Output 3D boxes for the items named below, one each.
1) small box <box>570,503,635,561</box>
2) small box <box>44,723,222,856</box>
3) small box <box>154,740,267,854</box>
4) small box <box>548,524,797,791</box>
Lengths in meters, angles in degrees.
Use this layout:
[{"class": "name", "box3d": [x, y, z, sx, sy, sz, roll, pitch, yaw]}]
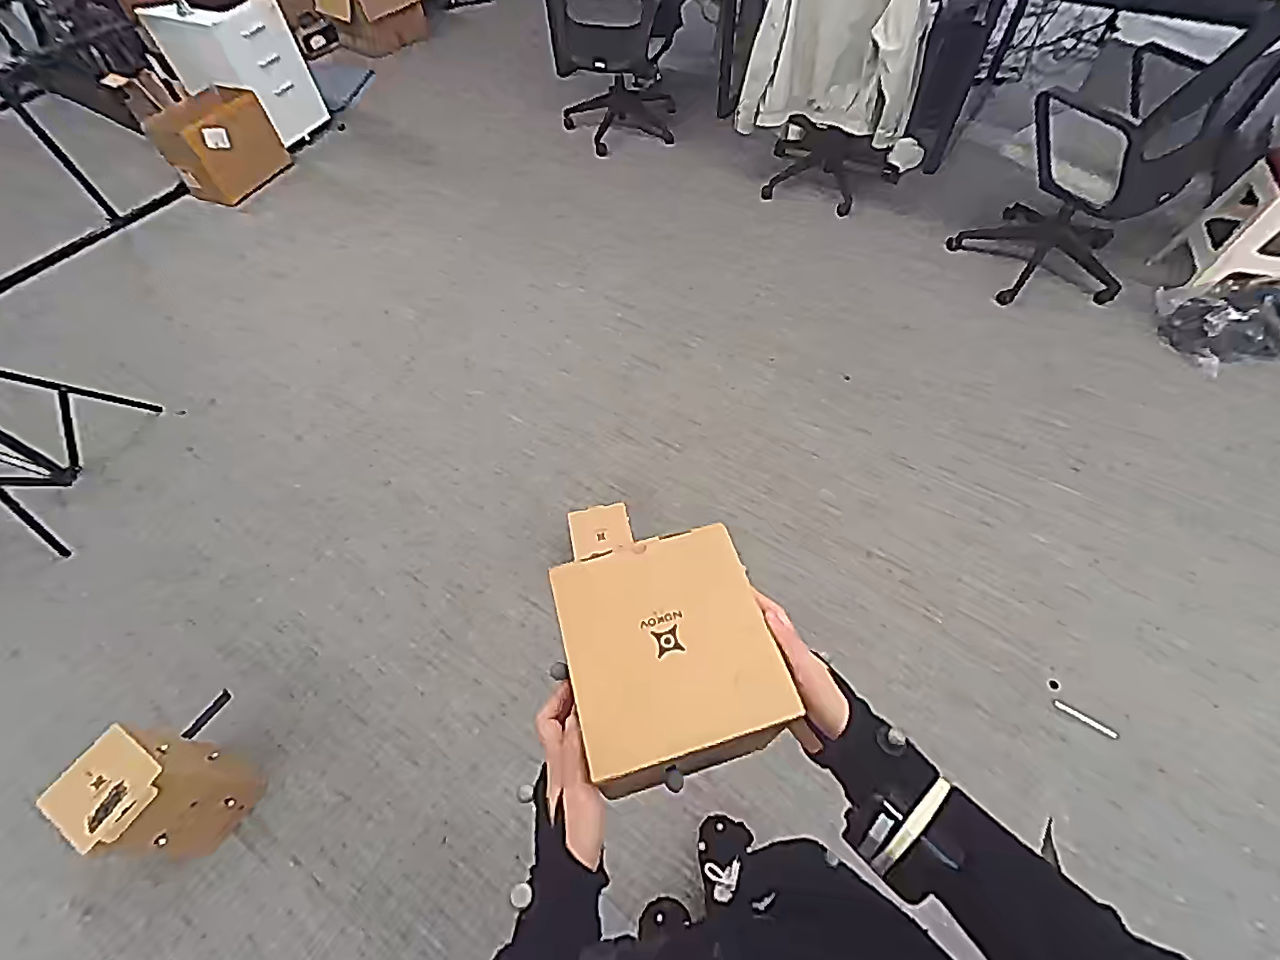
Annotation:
[{"class": "small box", "box3d": [-0.101, 0.191, 1.541, 0.168, 0.176, 0.179, -11, 57, -5]}, {"class": "small box", "box3d": [-1.024, 0.632, 1.112, 0.179, 0.176, 0.168, 25, 61, 18]}, {"class": "small box", "box3d": [-1.020, 0.726, 1.248, 0.179, 0.176, 0.168, 24, 61, 18]}, {"class": "small box", "box3d": [0.023, 0.172, 0.505, 0.168, 0.176, 0.179, -14, 55, -8]}]
